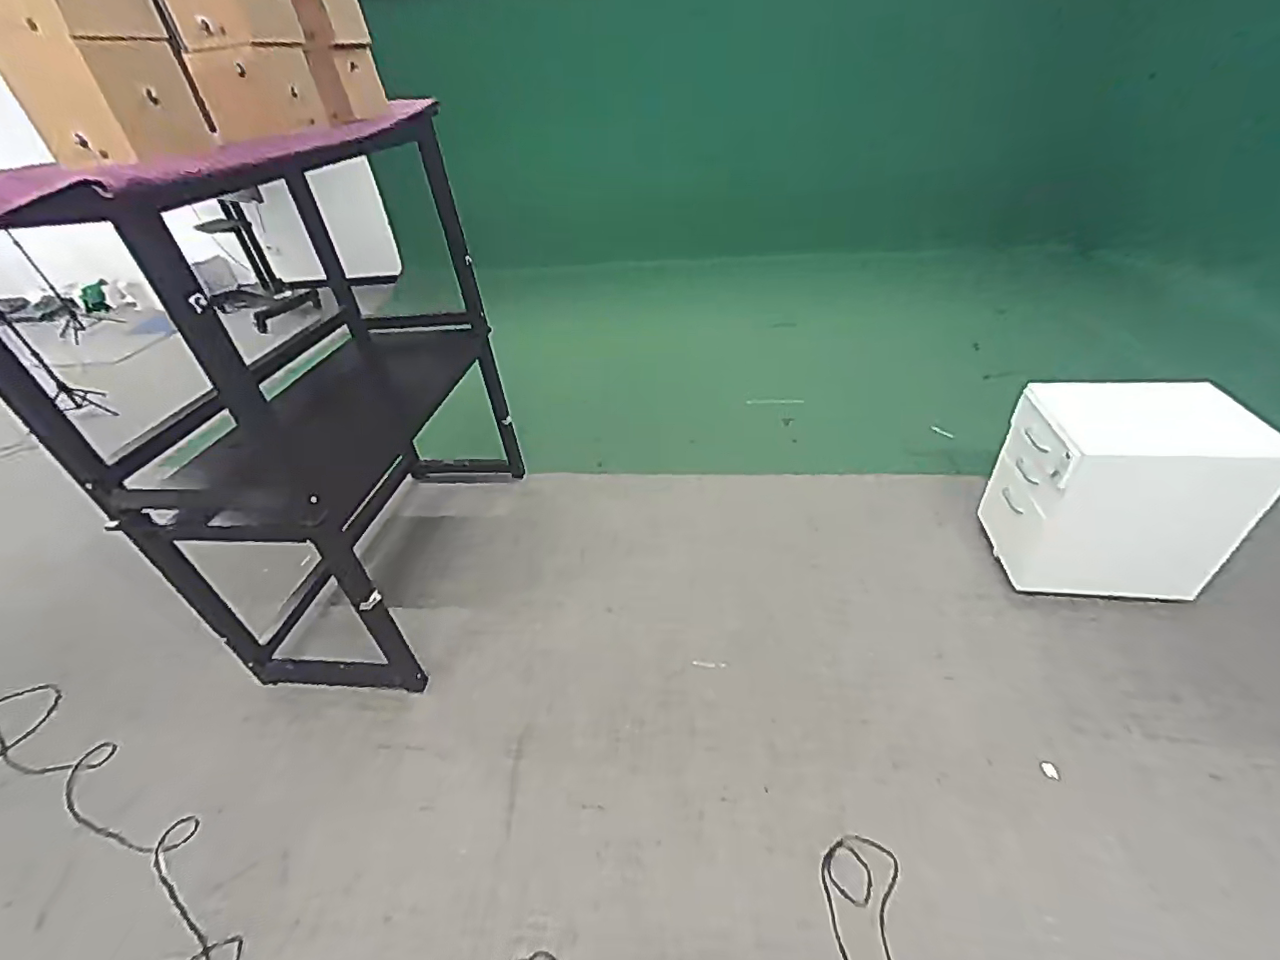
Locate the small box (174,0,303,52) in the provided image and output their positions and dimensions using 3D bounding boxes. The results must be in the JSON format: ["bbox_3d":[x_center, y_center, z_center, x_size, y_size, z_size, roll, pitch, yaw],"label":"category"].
[{"bbox_3d":[-0.863,-1.018,1.152,0.168,0.176,0.179,1,39,11],"label":"small box"}]

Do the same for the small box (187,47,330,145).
[{"bbox_3d":[-0.862,-0.884,1.244,0.179,0.176,0.168,2,37,11],"label":"small box"}]

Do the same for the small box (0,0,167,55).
[{"bbox_3d":[-0.900,-0.768,0.829,0.168,0.176,0.179,2,39,9],"label":"small box"}]

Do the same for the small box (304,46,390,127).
[{"bbox_3d":[-0.846,-1.109,1.529,0.168,0.176,0.179,3,39,14],"label":"small box"}]

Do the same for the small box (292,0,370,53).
[{"bbox_3d":[-0.850,-1.234,1.425,0.168,0.176,0.179,0,39,11],"label":"small box"}]
